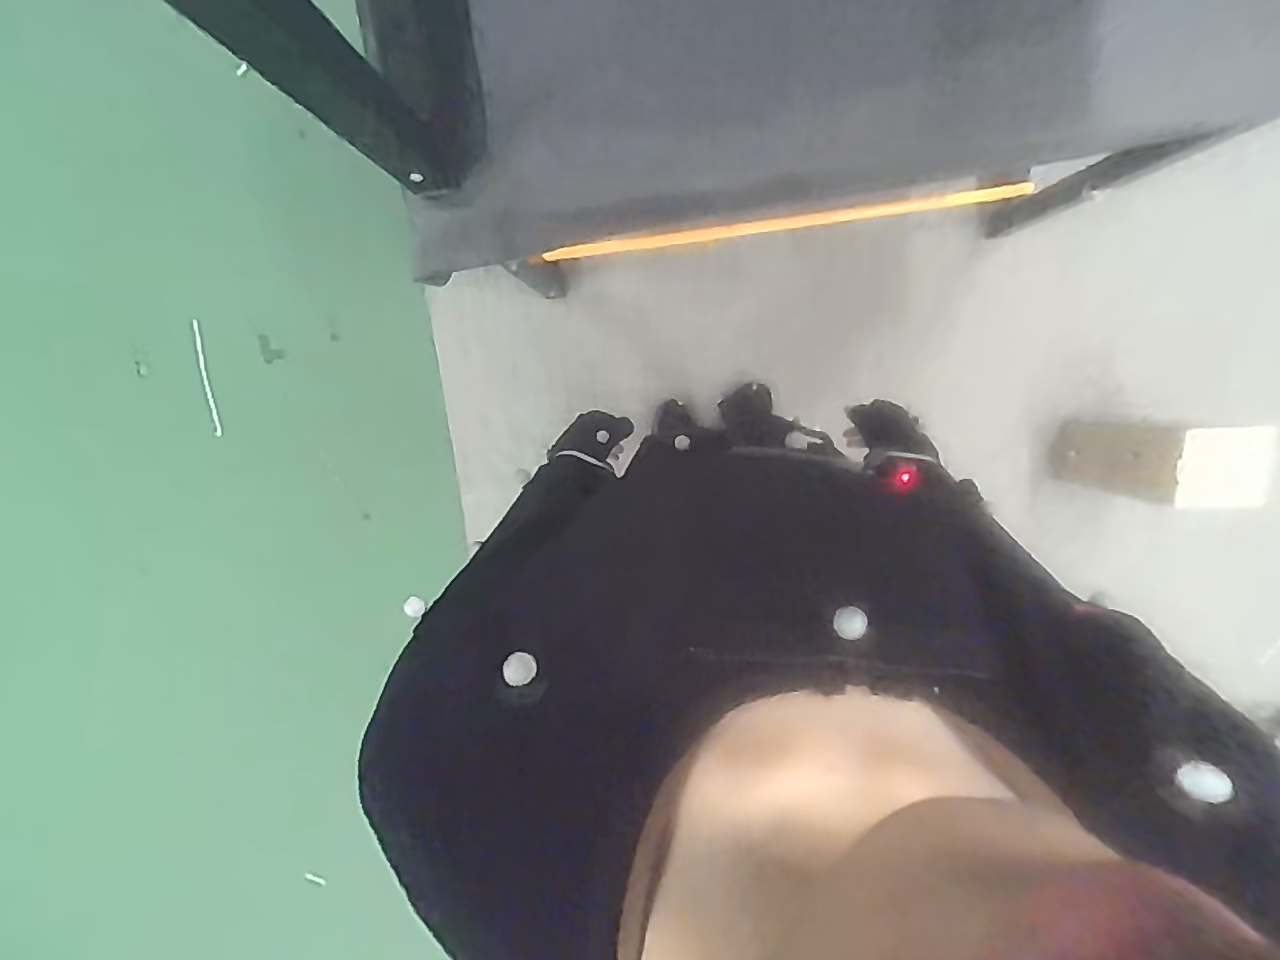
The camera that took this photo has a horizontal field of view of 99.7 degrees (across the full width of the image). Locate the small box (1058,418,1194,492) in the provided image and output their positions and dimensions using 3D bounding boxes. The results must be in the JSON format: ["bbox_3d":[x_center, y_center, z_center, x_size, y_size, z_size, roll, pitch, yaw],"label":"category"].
[{"bbox_3d":[1.187,-0.066,1.332,0.179,0.176,0.168,0,99,3],"label":"small box"}]
